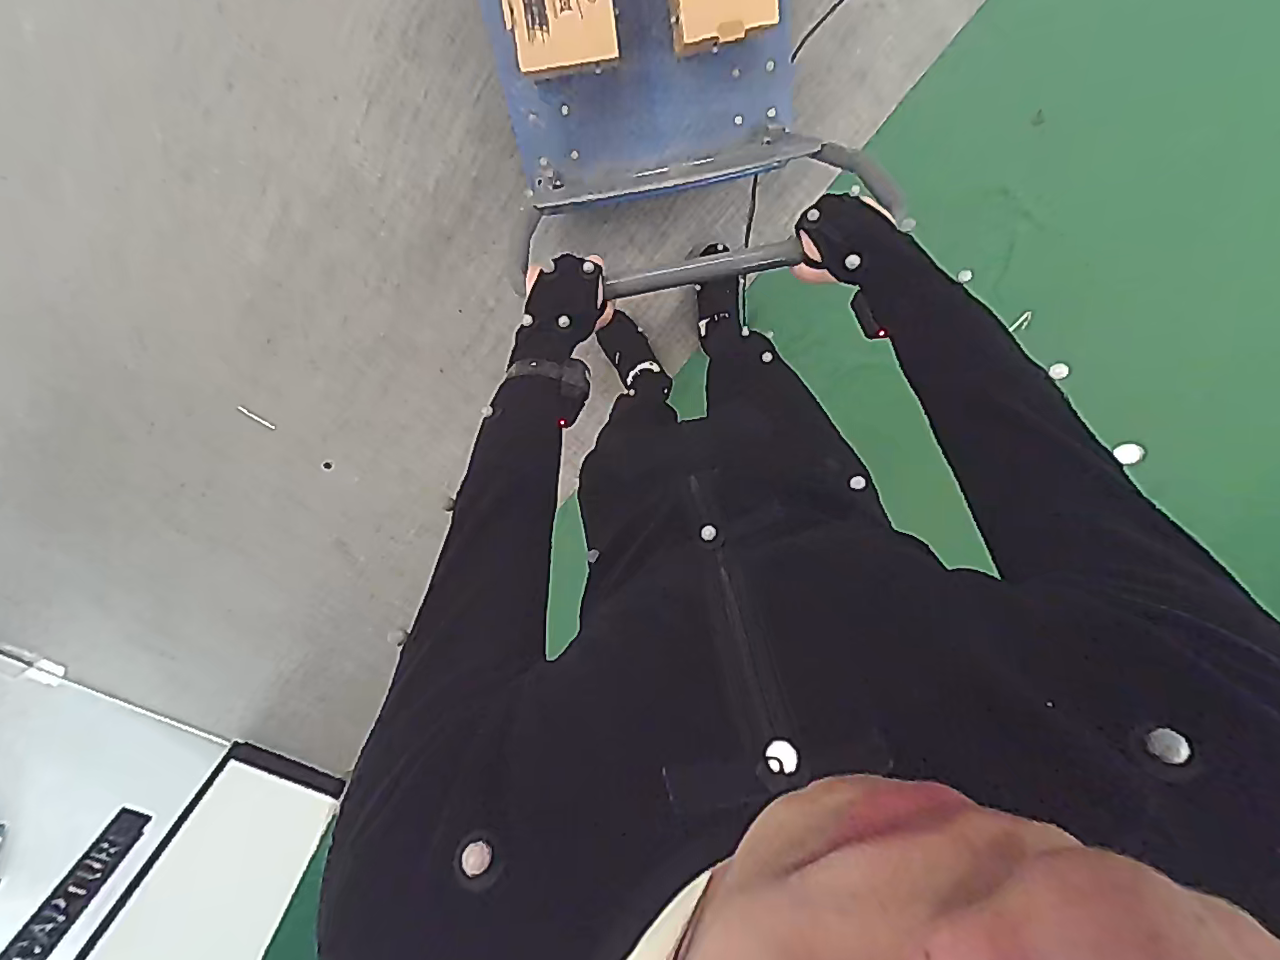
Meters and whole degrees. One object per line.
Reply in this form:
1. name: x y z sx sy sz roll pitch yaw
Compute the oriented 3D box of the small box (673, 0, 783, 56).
1. small box: 0.145 -0.871 0.943 0.168 0.176 0.179 -10 124 4
